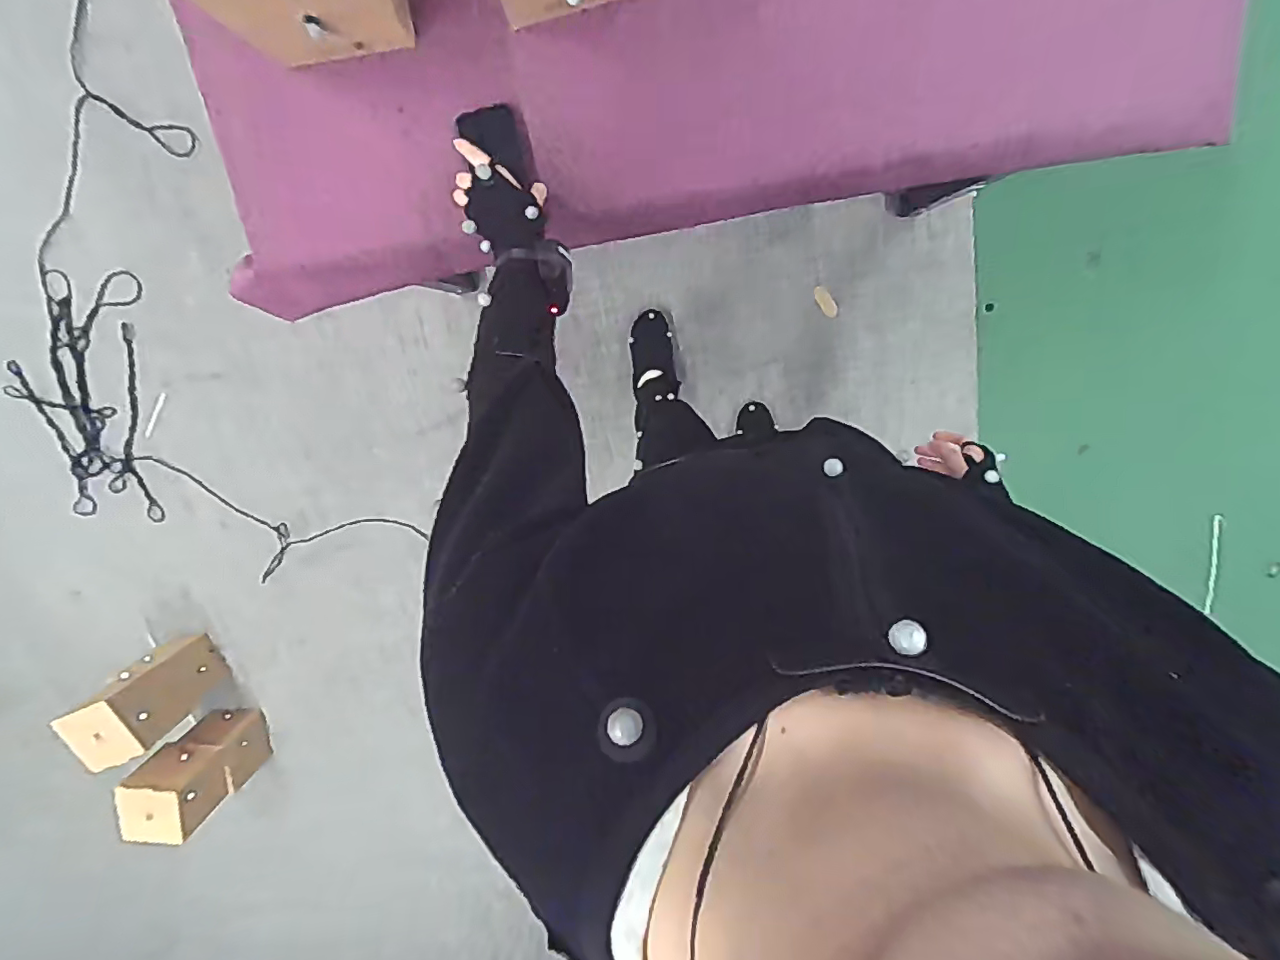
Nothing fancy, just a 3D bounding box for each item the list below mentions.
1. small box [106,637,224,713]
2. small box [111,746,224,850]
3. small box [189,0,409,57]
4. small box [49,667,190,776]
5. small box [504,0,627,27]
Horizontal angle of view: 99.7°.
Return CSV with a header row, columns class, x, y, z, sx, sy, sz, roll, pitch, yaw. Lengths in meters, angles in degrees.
class,x,y,z,sx,sy,sz,roll,pitch,yaw
small box,-1.381,0.590,1.594,0.179,0.176,0.168,-18,104,5
small box,-1.302,0.881,1.504,0.168,0.176,0.179,6,103,-1
small box,-0.355,-0.559,0.537,0.168,0.176,0.179,-8,105,3
small box,-1.367,0.636,1.437,0.168,0.176,0.179,-22,104,5
small box,-0.090,-0.600,0.523,0.168,0.176,0.179,-13,105,4
